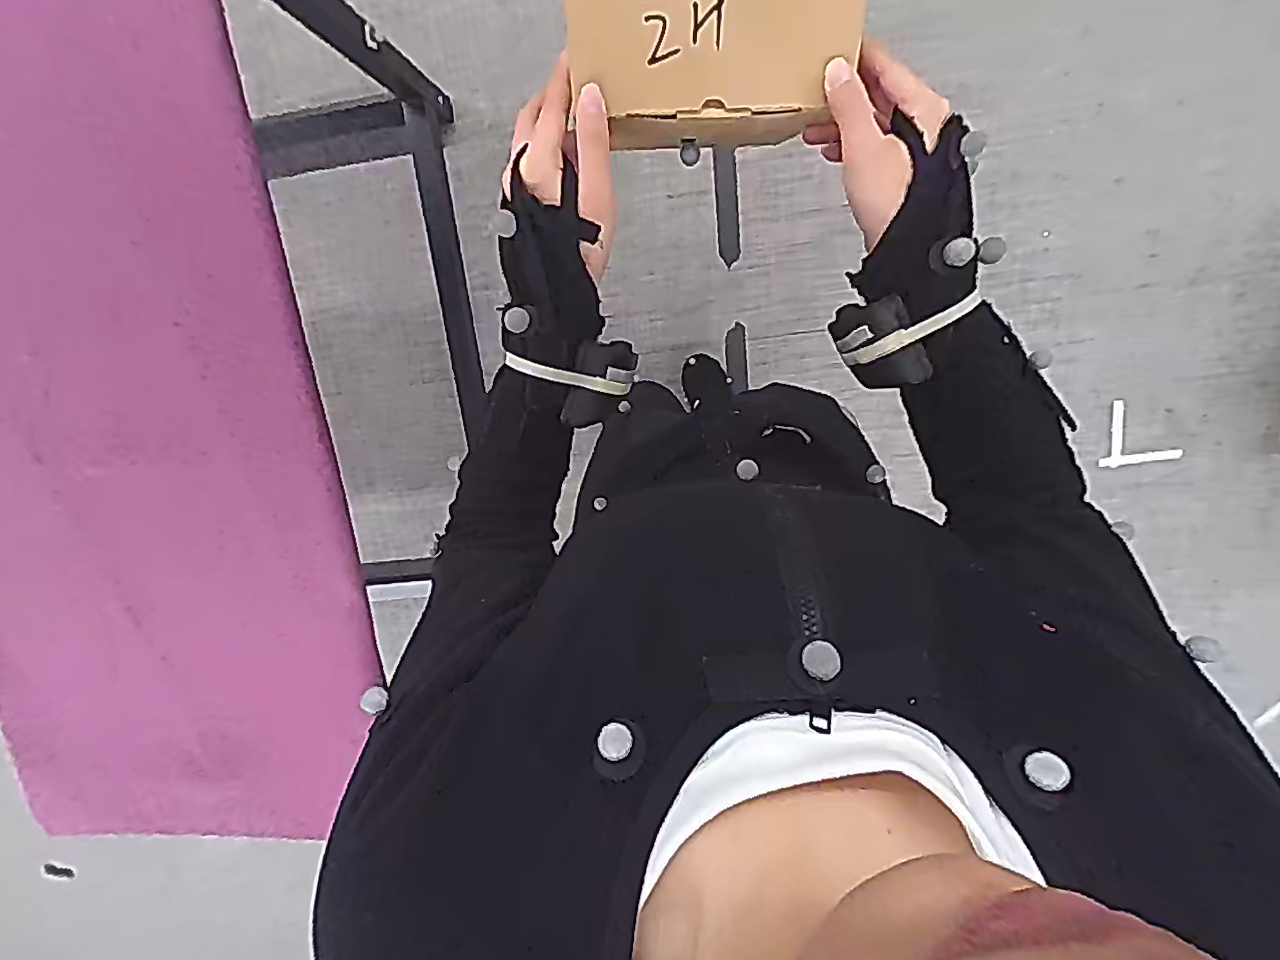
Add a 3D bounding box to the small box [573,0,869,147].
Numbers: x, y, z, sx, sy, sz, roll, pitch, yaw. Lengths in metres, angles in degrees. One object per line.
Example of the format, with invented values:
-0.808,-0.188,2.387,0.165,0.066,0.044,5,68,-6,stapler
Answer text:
0.040,-0.332,0.352,0.168,0.176,0.179,-2,115,-1,small box
